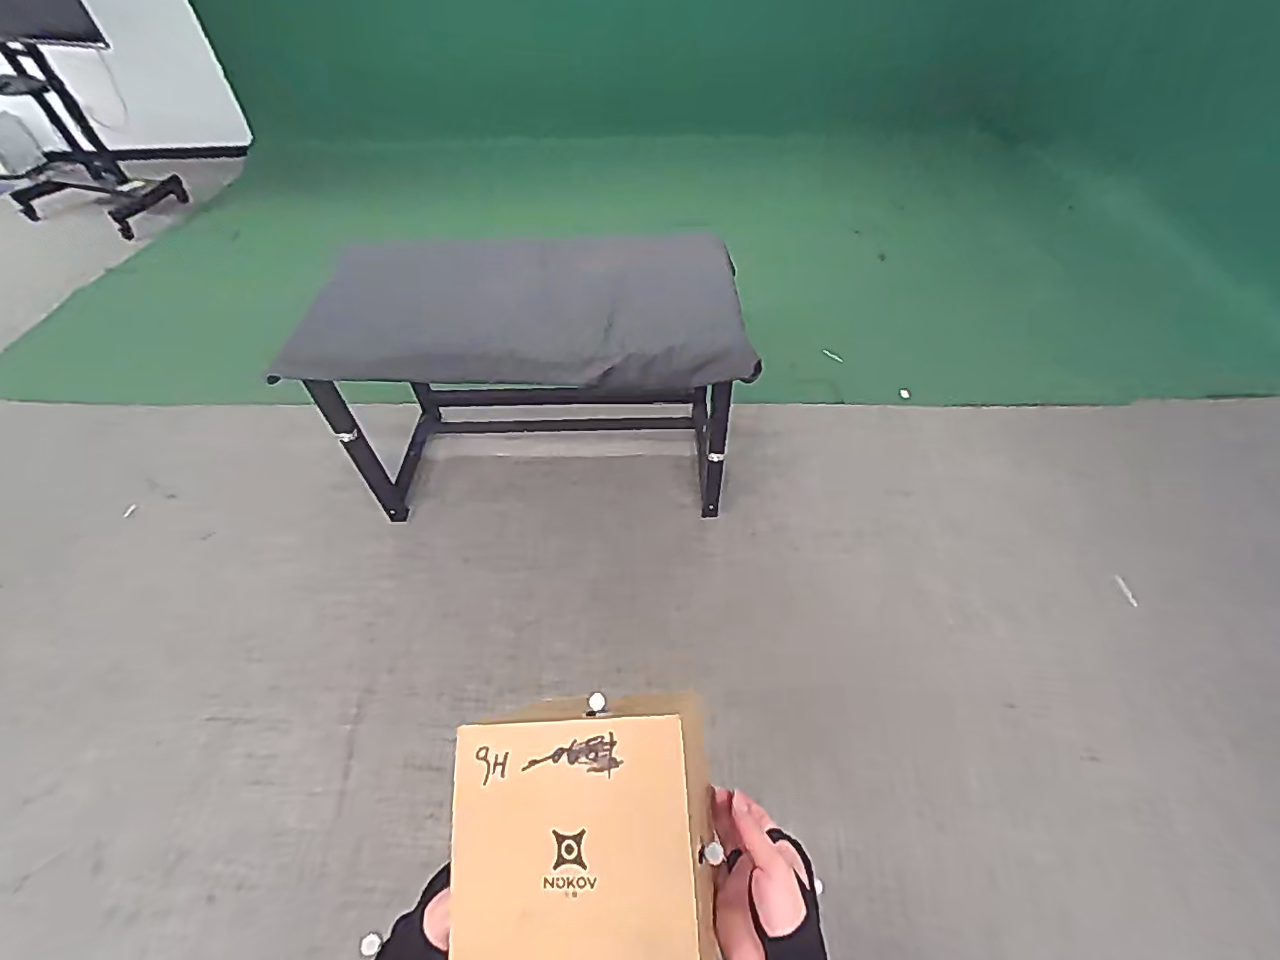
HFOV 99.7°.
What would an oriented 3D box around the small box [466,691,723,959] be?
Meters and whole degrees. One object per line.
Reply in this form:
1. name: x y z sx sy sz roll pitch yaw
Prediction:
1. small box: -0.024 0.278 0.439 0.168 0.176 0.179 -6 75 9
